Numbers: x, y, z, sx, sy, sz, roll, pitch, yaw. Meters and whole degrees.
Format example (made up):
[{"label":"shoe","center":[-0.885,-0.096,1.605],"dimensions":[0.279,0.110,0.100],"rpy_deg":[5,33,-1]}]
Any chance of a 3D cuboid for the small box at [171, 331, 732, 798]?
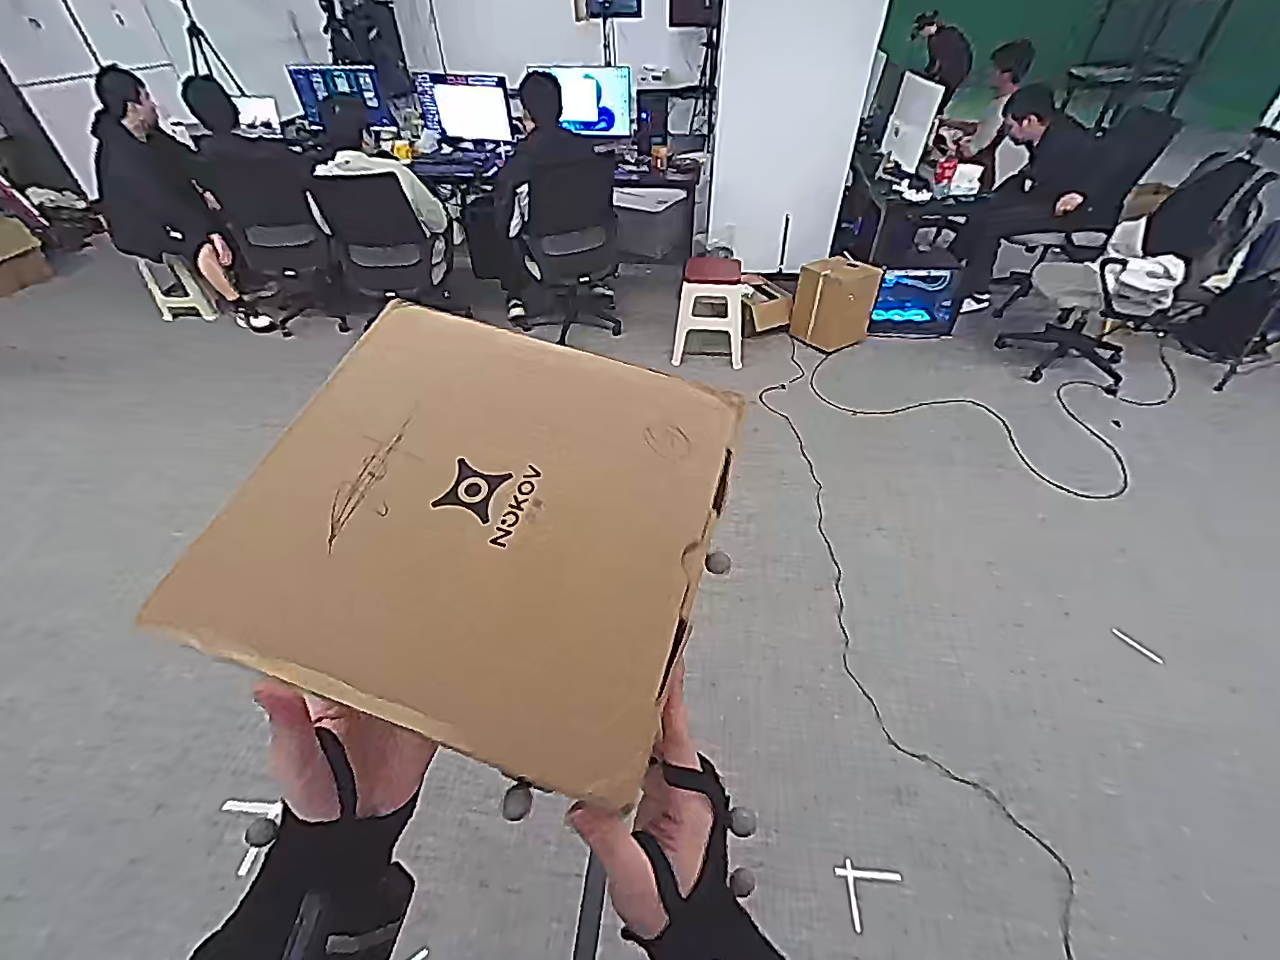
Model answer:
[{"label":"small box","center":[-0.064,0.054,0.288],"dimensions":[0.179,0.176,0.168],"rpy_deg":[13,58,6]}]
